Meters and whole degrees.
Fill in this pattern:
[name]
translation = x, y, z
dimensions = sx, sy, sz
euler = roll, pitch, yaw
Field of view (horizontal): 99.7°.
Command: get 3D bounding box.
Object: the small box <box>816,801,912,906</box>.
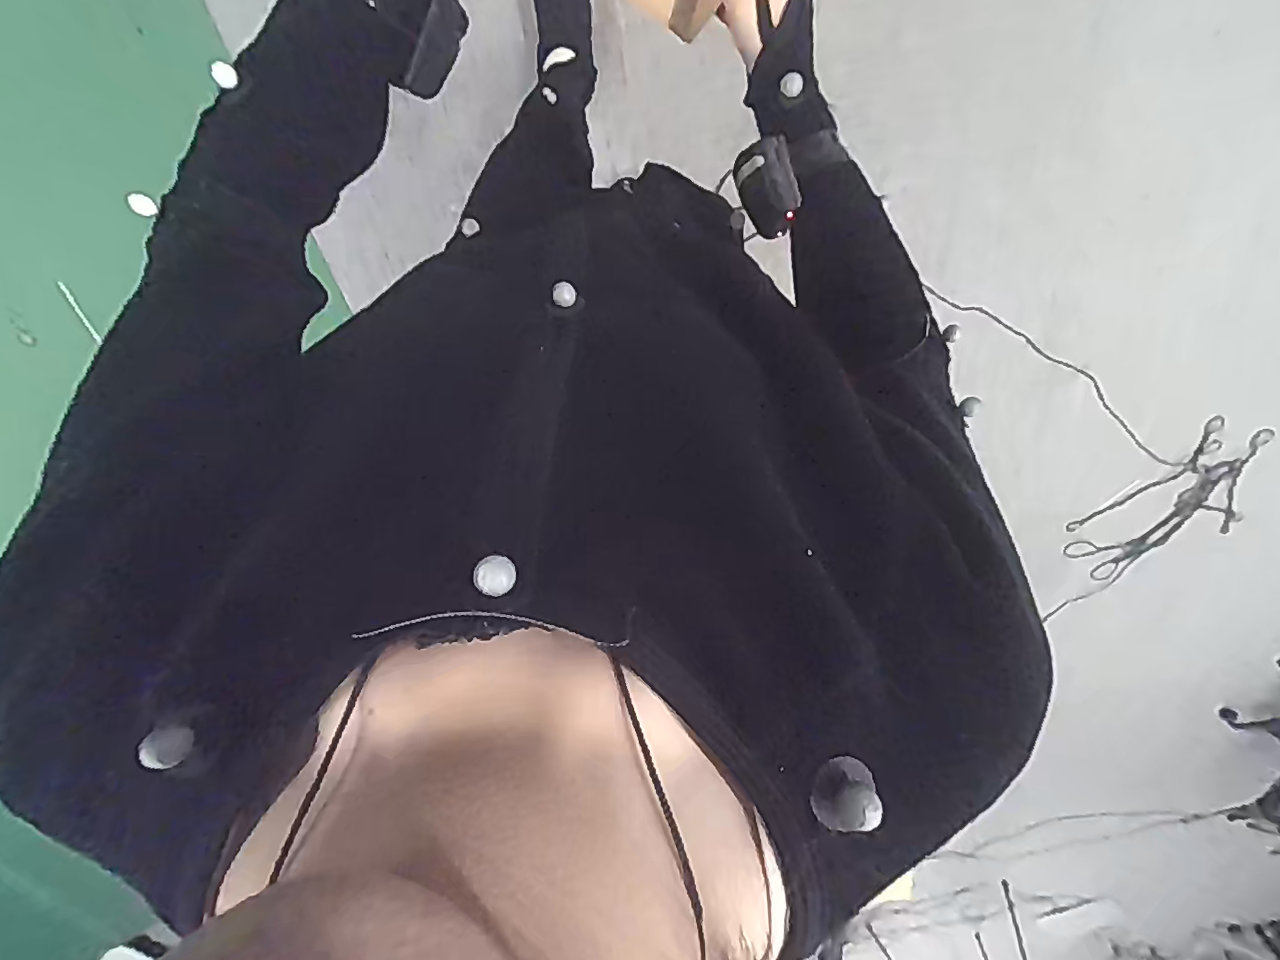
[small box]
translation = 0.561, 0.940, 1.369
dimensions = 0.179, 0.176, 0.168
euler = -11, 123, 5
